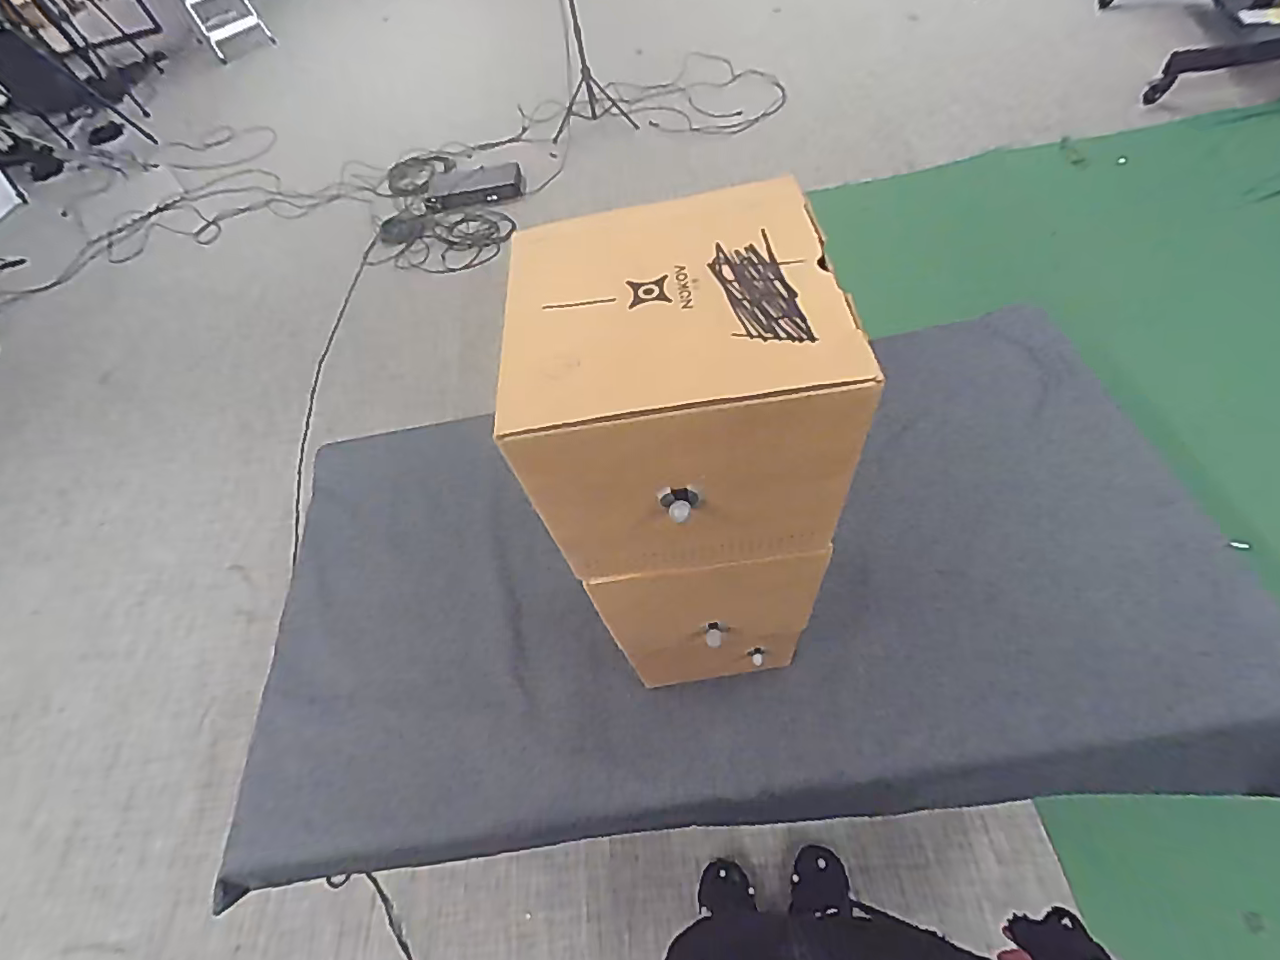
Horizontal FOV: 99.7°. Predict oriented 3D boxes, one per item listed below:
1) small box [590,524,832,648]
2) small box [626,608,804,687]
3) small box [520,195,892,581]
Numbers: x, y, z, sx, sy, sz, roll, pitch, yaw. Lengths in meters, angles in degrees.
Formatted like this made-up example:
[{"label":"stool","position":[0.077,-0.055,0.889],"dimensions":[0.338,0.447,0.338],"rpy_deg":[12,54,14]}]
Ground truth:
[{"label":"small box","position":[0.052,0.041,0.492],"dimensions":[0.179,0.176,0.168],"rpy_deg":[-9,55,3]},{"label":"small box","position":[0.074,0.127,0.629],"dimensions":[0.179,0.176,0.168],"rpy_deg":[-12,55,4]},{"label":"small box","position":[0.029,-0.049,0.356],"dimensions":[0.179,0.176,0.168],"rpy_deg":[-10,56,1]}]
